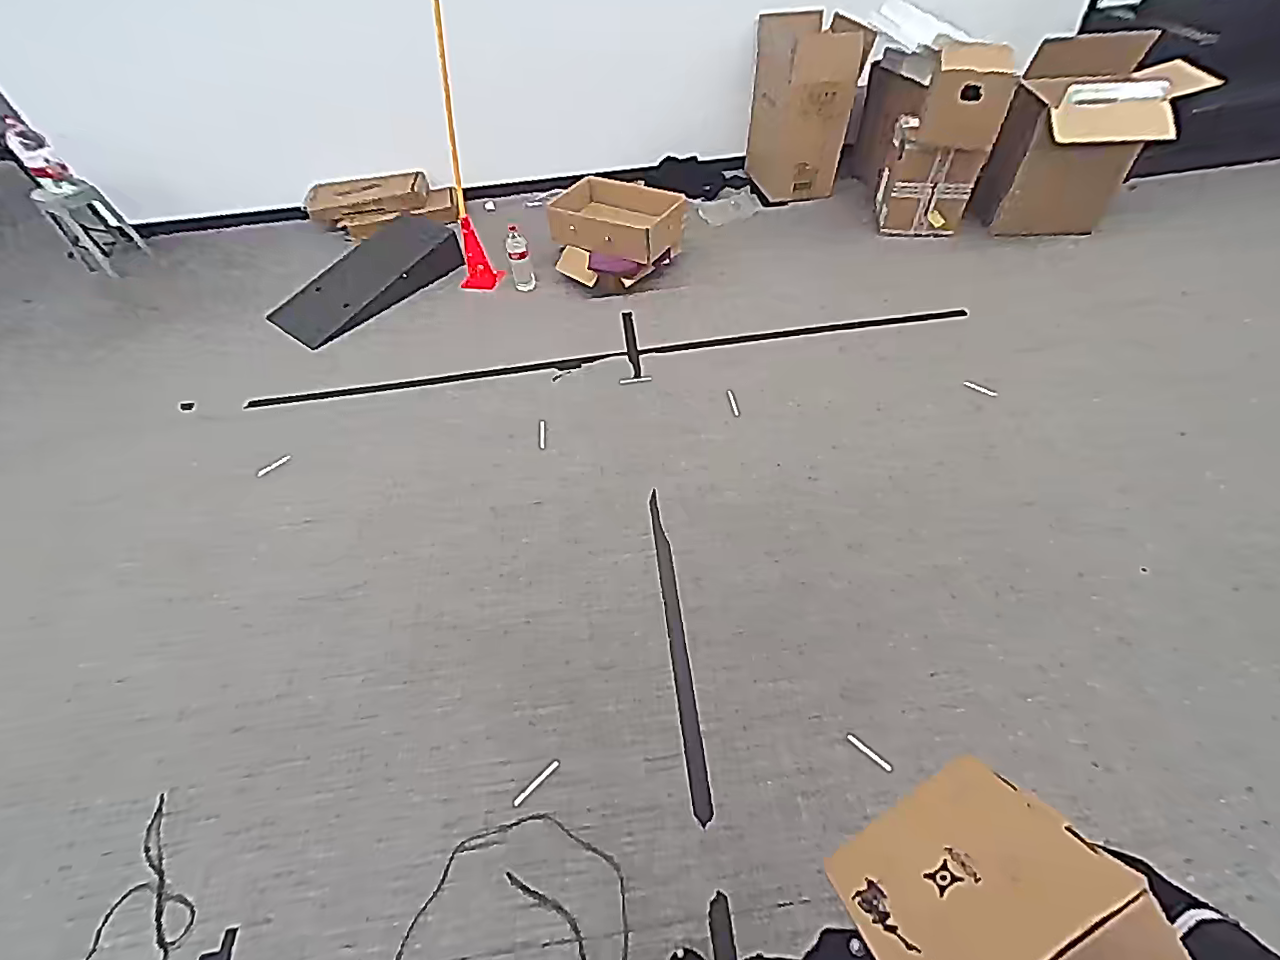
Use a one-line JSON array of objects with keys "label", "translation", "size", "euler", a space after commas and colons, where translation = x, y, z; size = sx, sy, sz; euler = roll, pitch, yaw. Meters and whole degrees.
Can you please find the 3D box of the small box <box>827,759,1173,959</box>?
[{"label": "small box", "translation": [0.297, 0.383, 0.441], "size": [0.179, 0.168, 0.176], "euler": [-33, 94, -4]}]
